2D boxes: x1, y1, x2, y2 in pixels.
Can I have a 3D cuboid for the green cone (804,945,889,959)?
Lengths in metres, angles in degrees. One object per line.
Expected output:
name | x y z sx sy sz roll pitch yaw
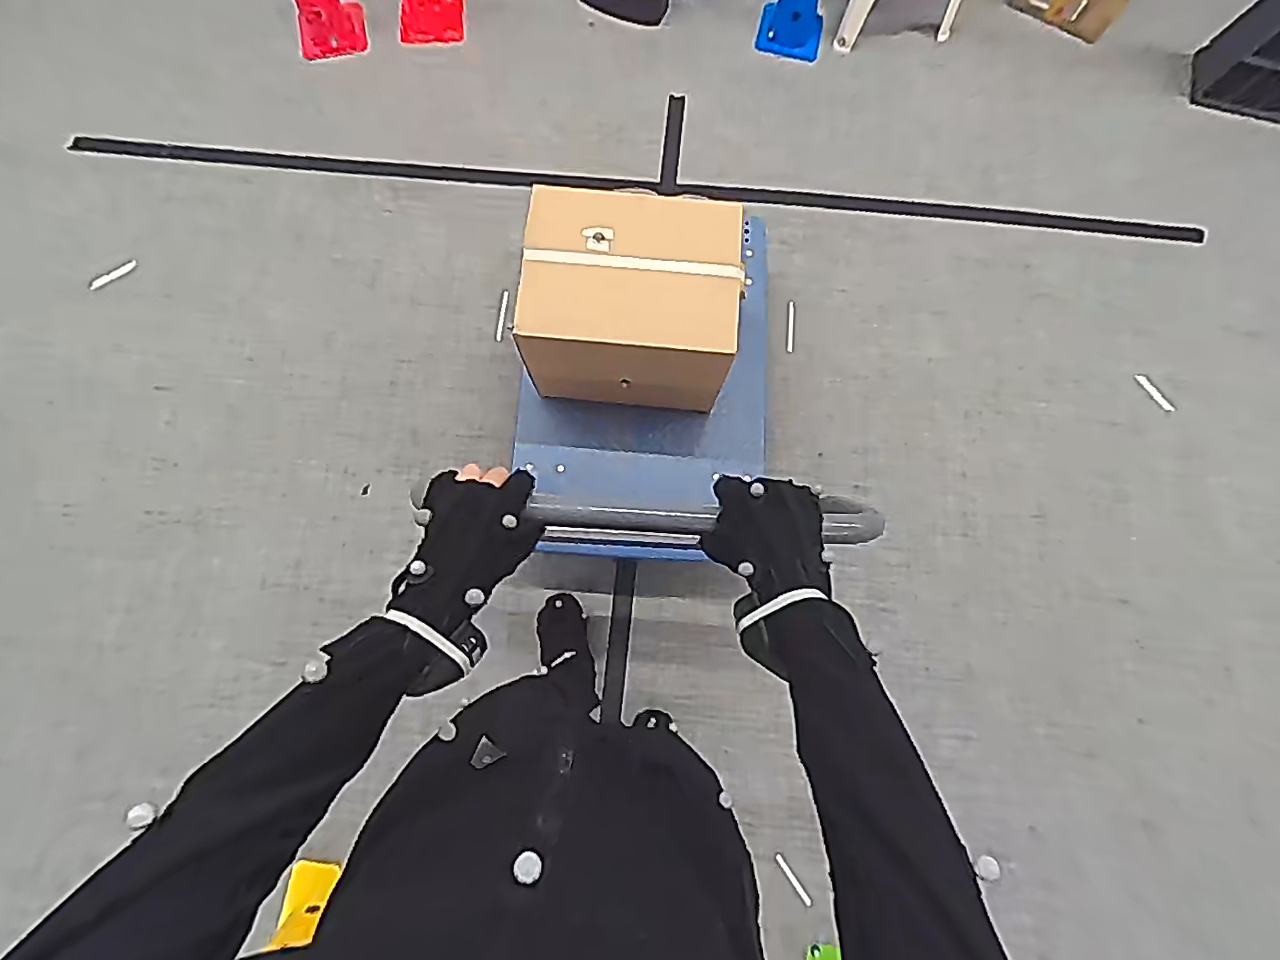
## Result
green cone | 0.447 1.078 0.981 0.202 0.368 0.200 10 77 0

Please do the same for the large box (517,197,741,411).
large box | -0.014 -0.350 1.151 0.408 0.320 0.320 5 78 0
